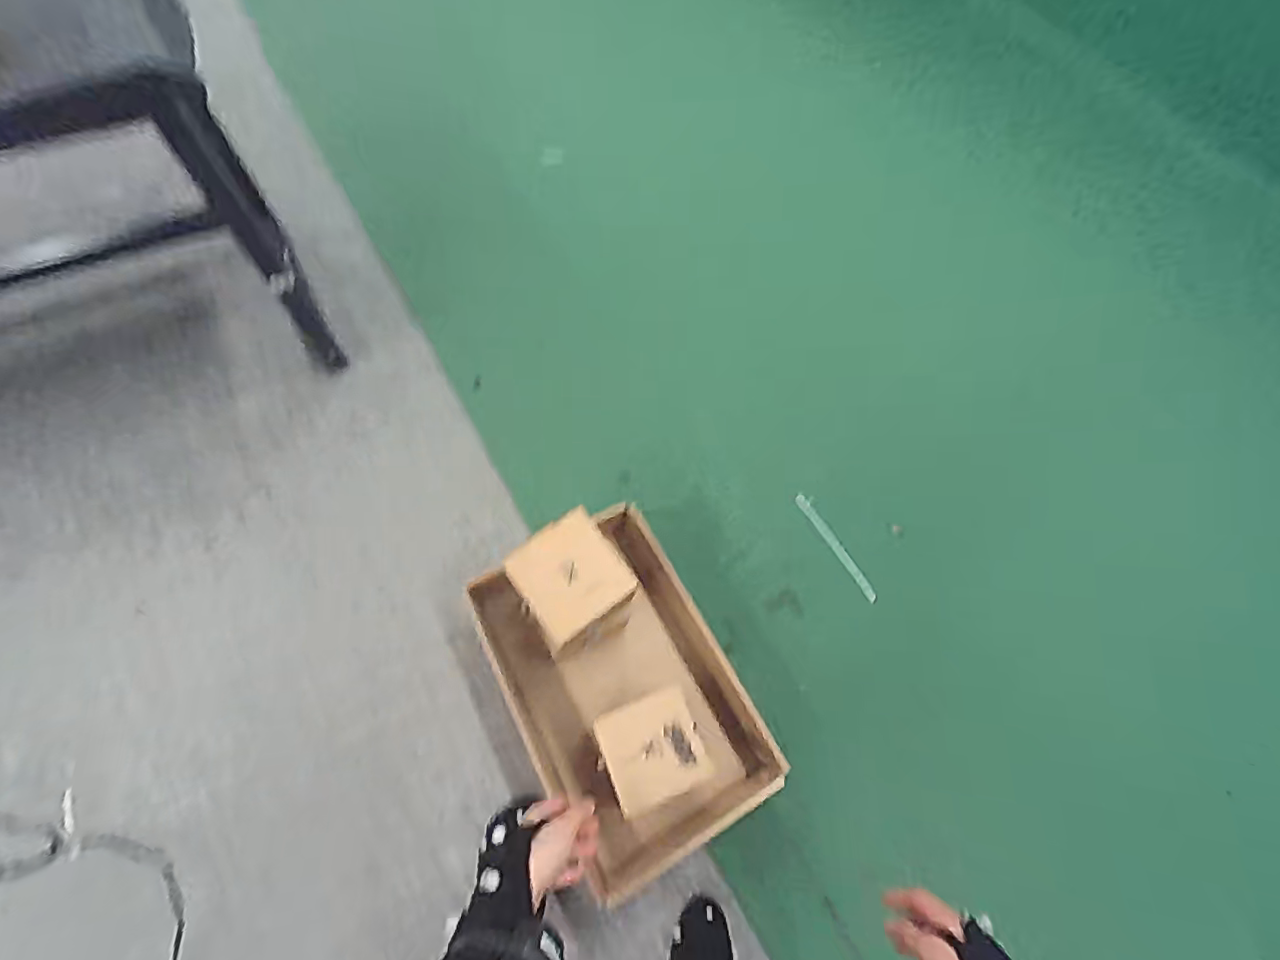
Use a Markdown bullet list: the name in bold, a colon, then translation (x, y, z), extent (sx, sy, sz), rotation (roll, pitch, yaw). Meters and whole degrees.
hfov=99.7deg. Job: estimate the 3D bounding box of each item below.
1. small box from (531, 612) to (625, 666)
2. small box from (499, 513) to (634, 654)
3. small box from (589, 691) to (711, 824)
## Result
- **small box**: translation (-0.145, 0.266, 1.127), extent (0.168, 0.176, 0.179), rotation (-24, 70, -15)
- **small box**: translation (-0.133, 0.195, 0.980), extent (0.168, 0.176, 0.179), rotation (-34, 75, -18)
- **small box**: translation (0.010, 0.517, 1.028), extent (0.179, 0.176, 0.168), rotation (-19, 68, -12)
